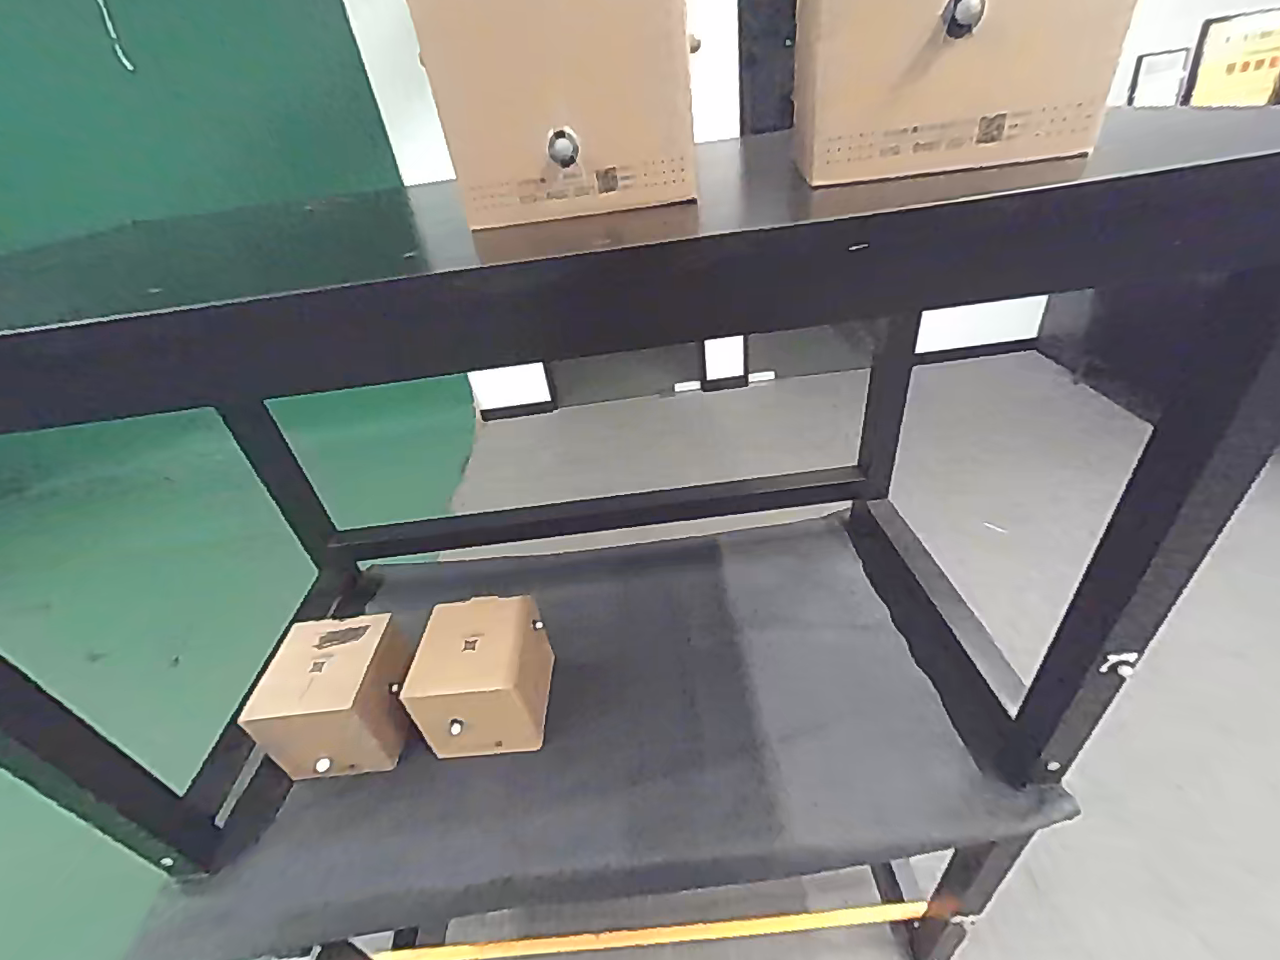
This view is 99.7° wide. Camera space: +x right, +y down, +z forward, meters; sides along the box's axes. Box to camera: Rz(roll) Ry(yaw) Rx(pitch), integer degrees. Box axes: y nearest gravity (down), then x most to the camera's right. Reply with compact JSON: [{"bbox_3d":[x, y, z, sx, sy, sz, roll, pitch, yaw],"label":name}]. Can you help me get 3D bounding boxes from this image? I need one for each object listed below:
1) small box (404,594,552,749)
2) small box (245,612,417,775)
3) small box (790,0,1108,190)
[{"bbox_3d":[-0.245,0.312,0.870,0.168,0.176,0.179,-6,34,3],"label":"small box"},{"bbox_3d":[-0.471,0.341,0.870,0.168,0.176,0.179,-7,35,2],"label":"small box"},{"bbox_3d":[0.196,-0.310,0.378,0.168,0.176,0.179,0,35,11],"label":"small box"}]
